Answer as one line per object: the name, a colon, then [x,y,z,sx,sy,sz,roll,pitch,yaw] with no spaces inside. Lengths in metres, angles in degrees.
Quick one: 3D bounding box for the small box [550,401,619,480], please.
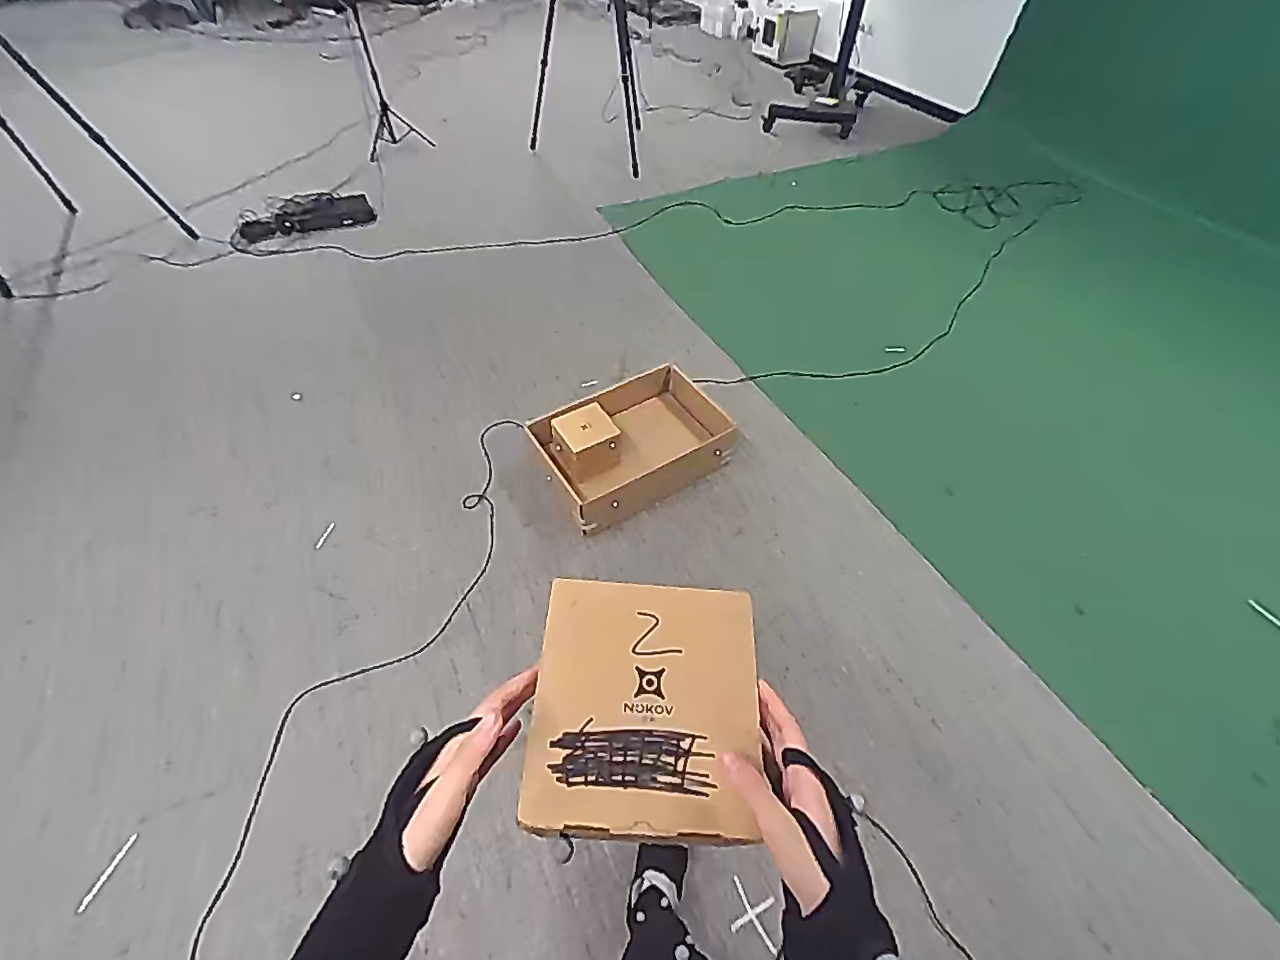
small box: [-0.184,-0.127,1.818,0.179,0.176,0.168,-26,59,-21]
